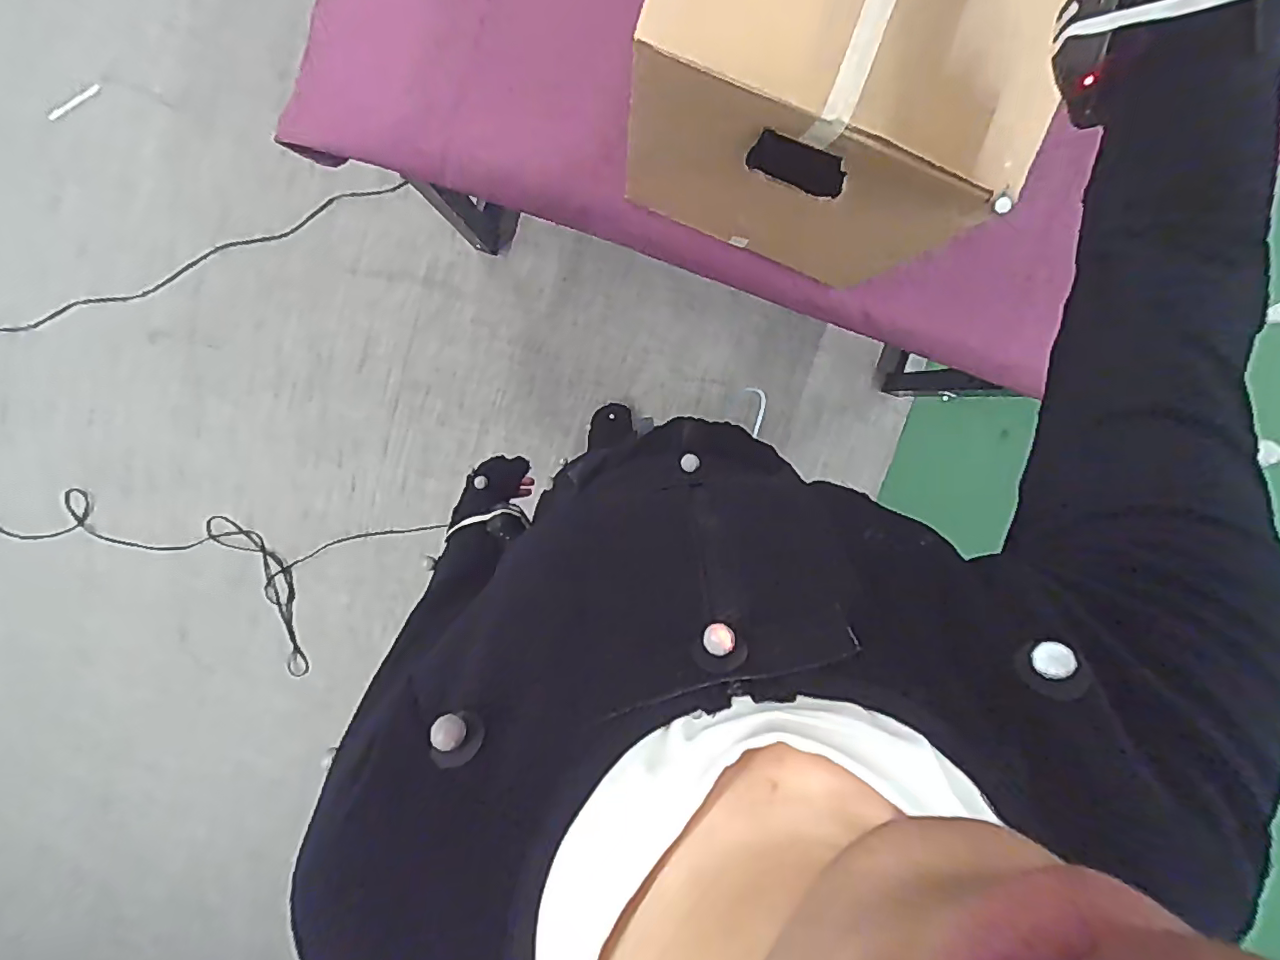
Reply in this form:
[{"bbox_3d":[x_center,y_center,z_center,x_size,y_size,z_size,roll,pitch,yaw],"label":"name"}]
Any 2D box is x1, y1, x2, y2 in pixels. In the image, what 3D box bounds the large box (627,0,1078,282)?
[{"bbox_3d":[0.198,-0.475,0.542,0.320,0.320,0.408,20,97,-5],"label":"large box"}]
